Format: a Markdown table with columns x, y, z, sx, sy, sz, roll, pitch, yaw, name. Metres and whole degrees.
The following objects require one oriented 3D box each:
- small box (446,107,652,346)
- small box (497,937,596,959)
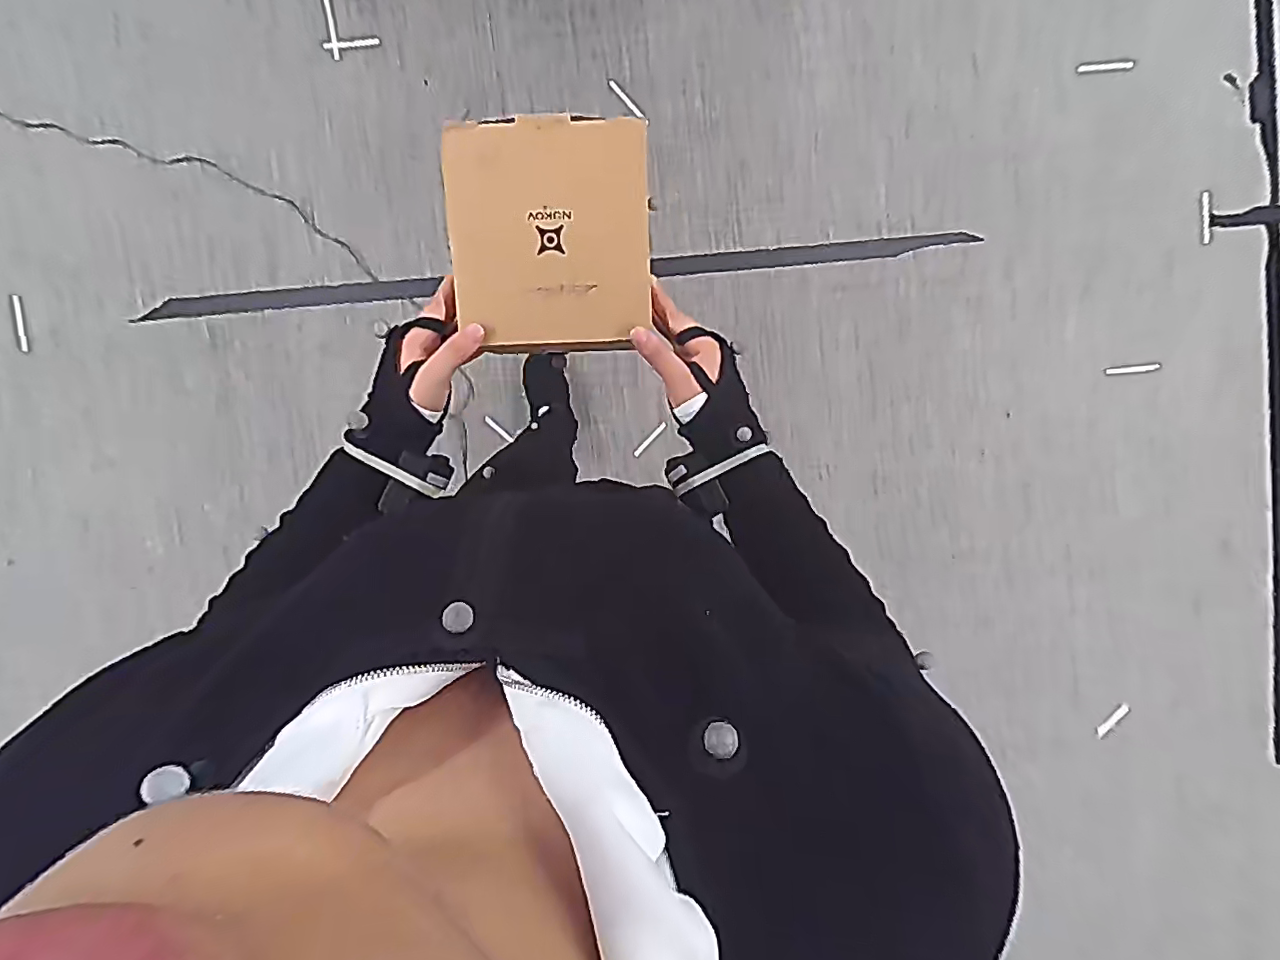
| x | y | z | sx | sy | sz | roll | pitch | yaw | name |
| --- | --- | --- | --- | --- | --- | --- | --- | --- | --- |
| -0.077 | -0.228 | 0.529 | 0.168 | 0.176 | 0.179 | -2 | 101 | -1 | small box |
| -0.141 | 0.829 | 0.795 | 0.179 | 0.176 | 0.168 | -15 | 91 | -1 | small box |
